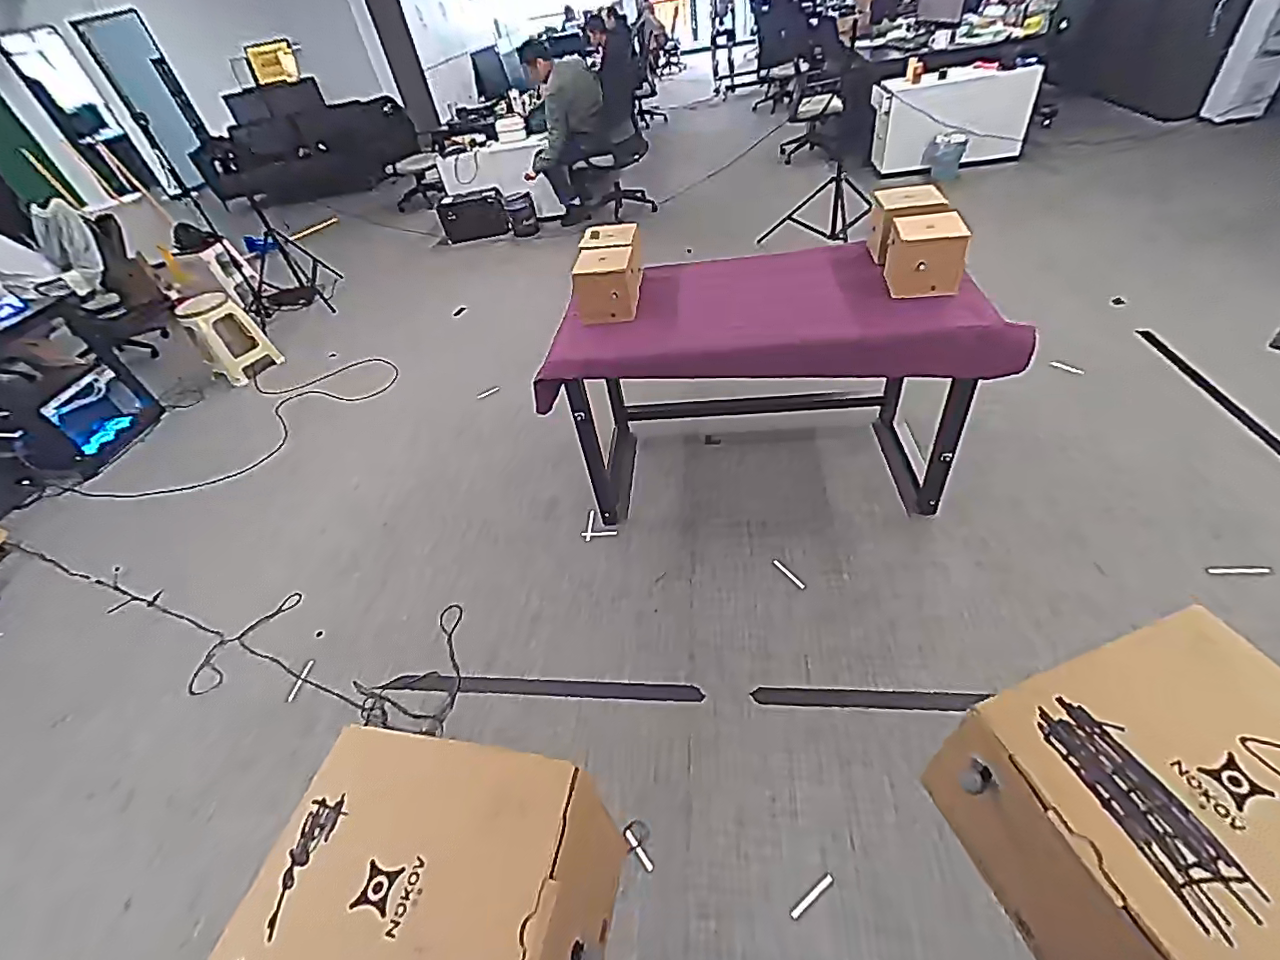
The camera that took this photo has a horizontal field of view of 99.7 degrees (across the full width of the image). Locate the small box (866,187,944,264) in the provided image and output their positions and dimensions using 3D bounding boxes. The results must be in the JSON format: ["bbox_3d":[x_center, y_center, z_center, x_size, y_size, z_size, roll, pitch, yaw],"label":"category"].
[{"bbox_3d":[0.813,-0.787,1.681,0.179,0.176,0.168,-1,45,10],"label":"small box"}]

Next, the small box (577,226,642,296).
[{"bbox_3d":[-0.097,-0.733,1.819,0.179,0.176,0.168,0,46,10],"label":"small box"}]

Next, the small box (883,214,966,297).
[{"bbox_3d":[0.794,-0.627,1.526,0.168,0.176,0.179,0,43,14],"label":"small box"}]

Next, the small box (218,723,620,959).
[{"bbox_3d":[-0.120,0.287,0.352,0.179,0.176,0.168,3,43,14],"label":"small box"}]
